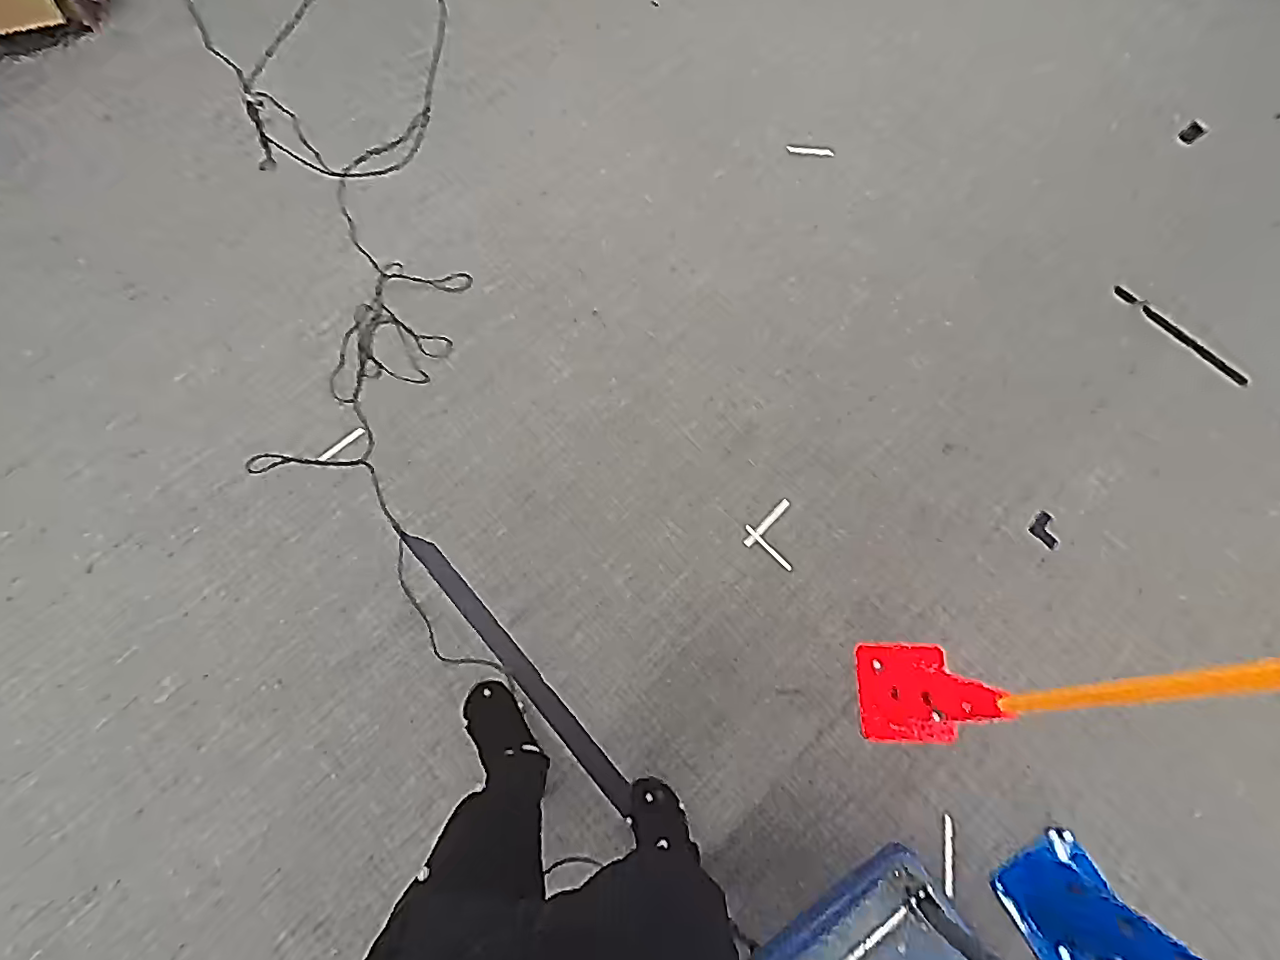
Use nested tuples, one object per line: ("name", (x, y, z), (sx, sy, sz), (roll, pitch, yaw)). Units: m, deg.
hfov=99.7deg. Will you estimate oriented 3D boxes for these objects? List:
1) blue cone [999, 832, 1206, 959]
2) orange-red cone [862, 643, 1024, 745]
("blue cone", (0.812, 0.762, 0.885), (0.193, 0.380, 0.192), (-27, 72, -8))
("orange-red cone", (0.574, 0.404, 0.993), (0.198, 0.360, 0.199), (2, 73, 2))
